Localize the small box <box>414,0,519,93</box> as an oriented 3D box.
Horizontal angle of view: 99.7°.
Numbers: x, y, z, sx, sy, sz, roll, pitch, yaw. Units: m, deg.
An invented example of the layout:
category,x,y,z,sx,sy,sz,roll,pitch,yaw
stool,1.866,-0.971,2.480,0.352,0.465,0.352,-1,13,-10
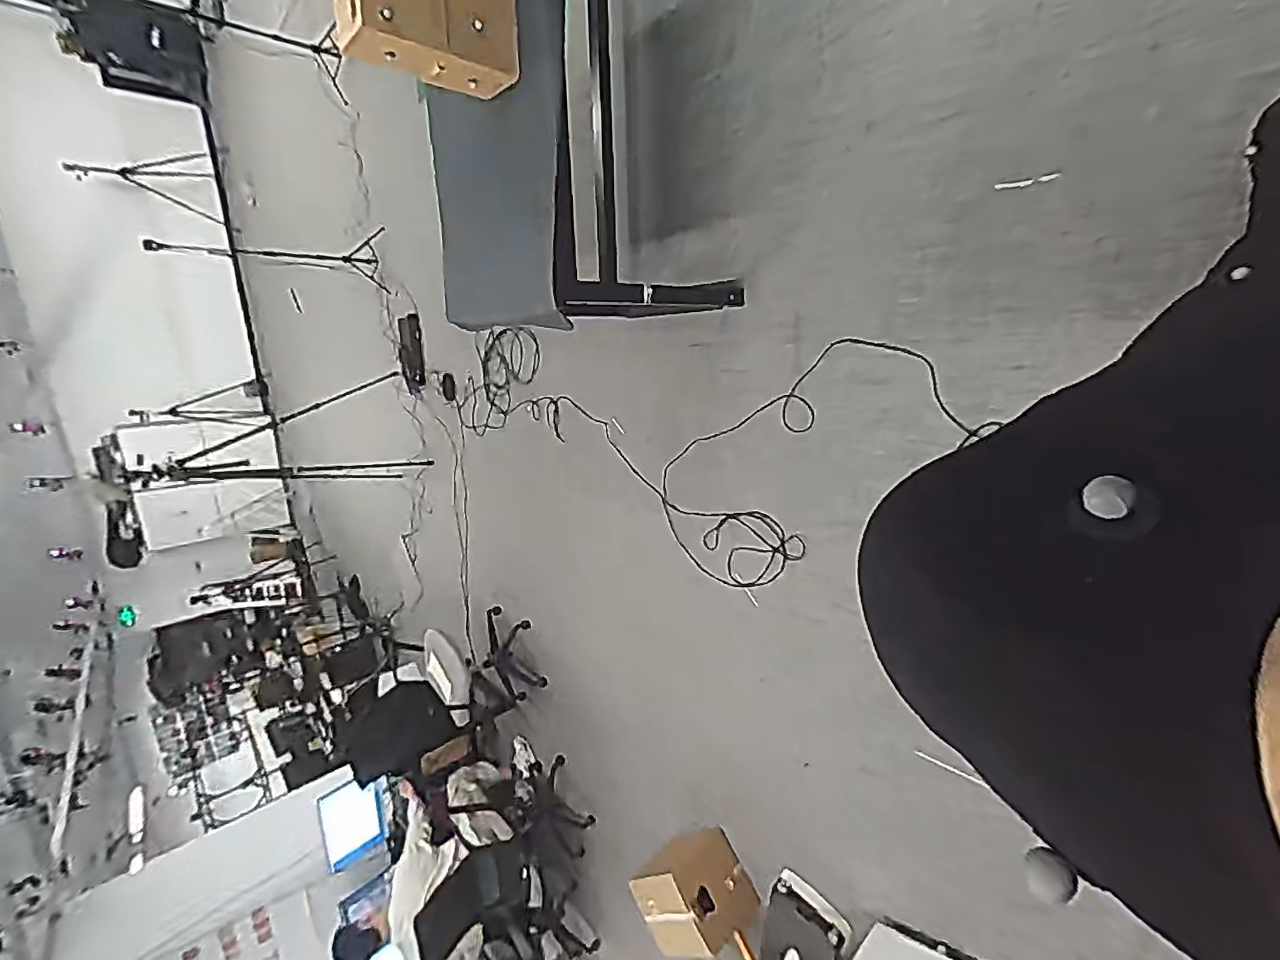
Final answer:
category,x,y,z,sx,sy,sz,roll,pitch,yaw
small box,-0.381,-0.992,1.204,0.168,0.176,0.179,17,114,46
